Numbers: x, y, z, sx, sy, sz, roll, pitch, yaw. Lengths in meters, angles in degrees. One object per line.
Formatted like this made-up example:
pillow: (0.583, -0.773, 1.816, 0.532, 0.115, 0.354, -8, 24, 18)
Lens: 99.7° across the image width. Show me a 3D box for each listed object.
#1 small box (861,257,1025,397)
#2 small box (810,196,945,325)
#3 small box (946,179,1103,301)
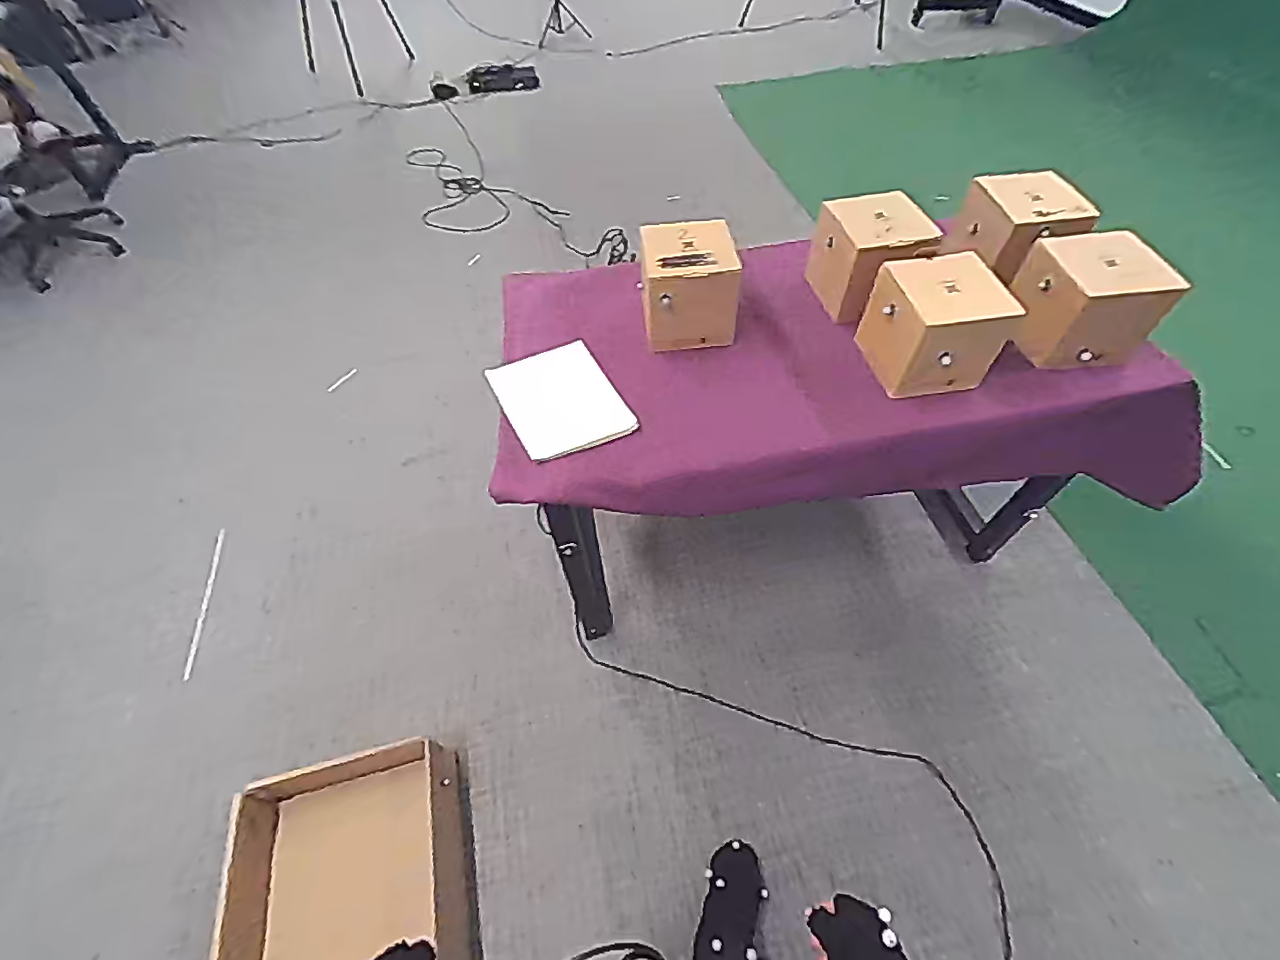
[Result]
small box: (0.518, -0.261, 0.955, 0.168, 0.176, 0.179, -7, 55, -2)
small box: (0.460, -0.437, 1.081, 0.168, 0.176, 0.179, -9, 55, -4)
small box: (0.767, -0.488, 1.107, 0.168, 0.176, 0.179, -6, 54, -1)
